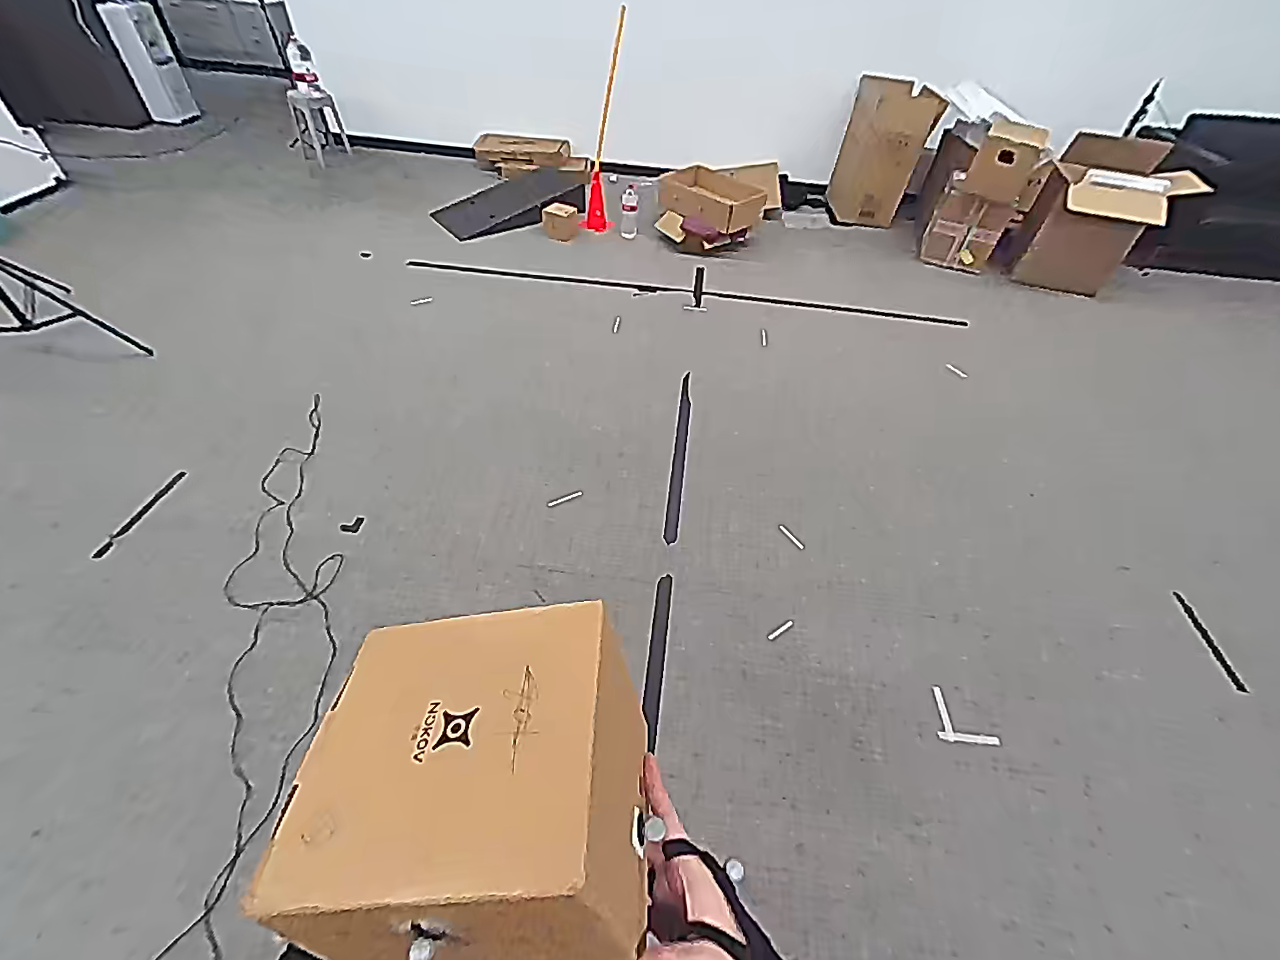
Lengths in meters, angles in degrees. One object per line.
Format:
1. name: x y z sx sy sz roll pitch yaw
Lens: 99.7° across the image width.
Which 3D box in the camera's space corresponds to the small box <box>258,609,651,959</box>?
1. small box: -0.093 0.215 0.371 0.179 0.176 0.168 -8 38 7
